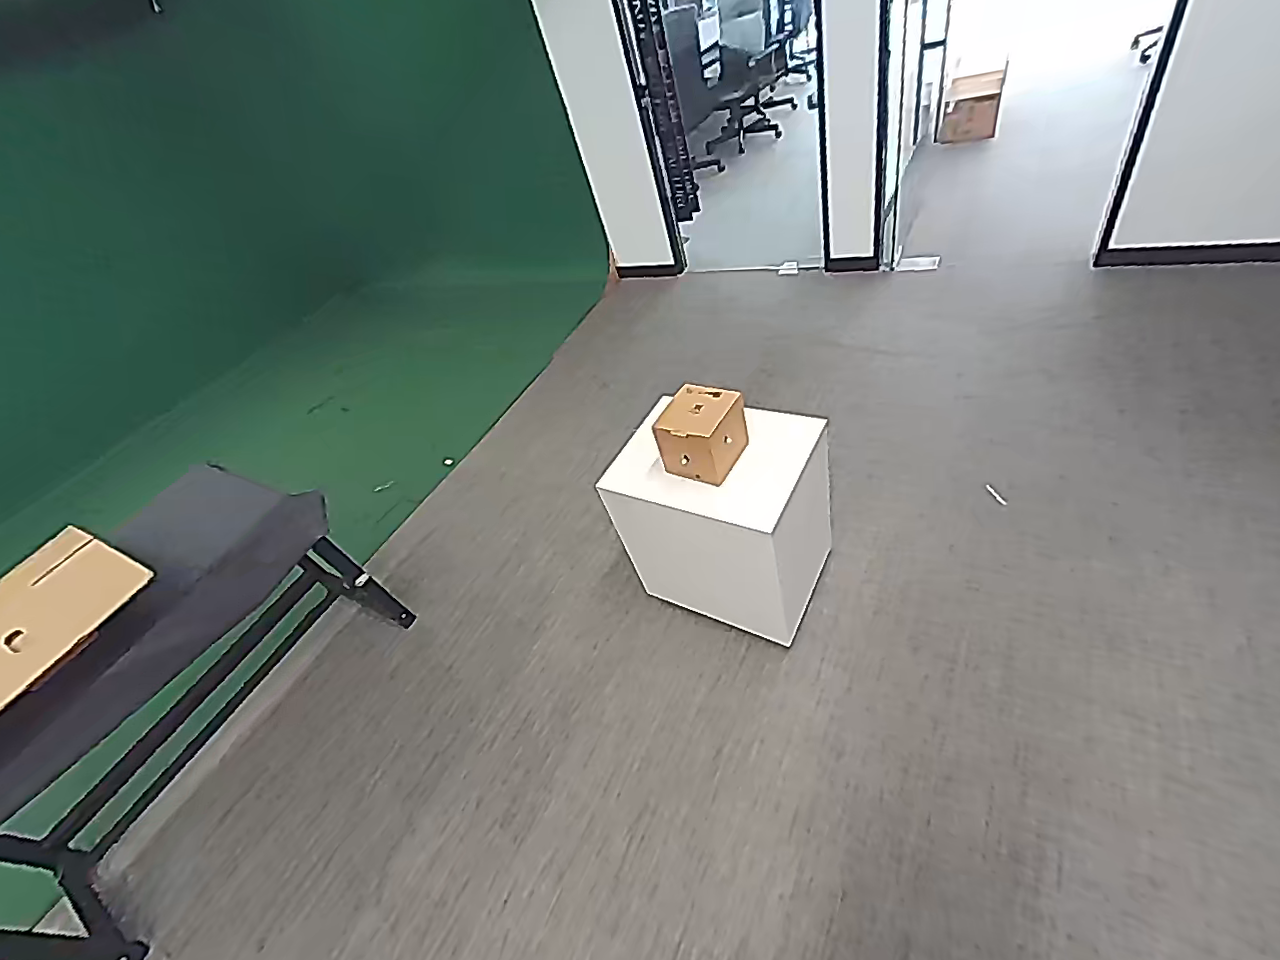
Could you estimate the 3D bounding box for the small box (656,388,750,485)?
[{"bbox_3d":[0.170,-0.112,1.387,0.168,0.176,0.179,14,53,32],"label":"small box"}]
